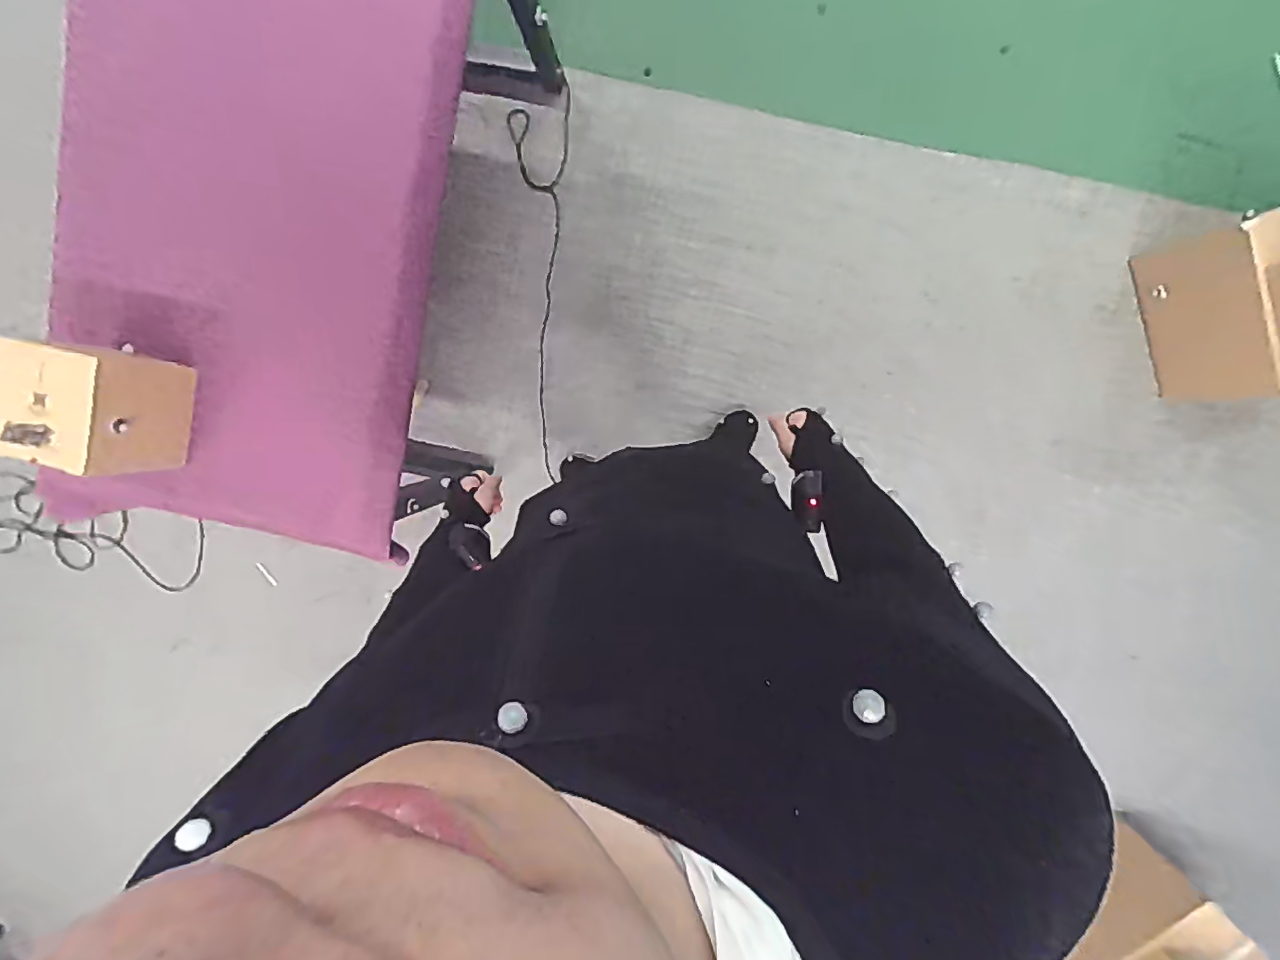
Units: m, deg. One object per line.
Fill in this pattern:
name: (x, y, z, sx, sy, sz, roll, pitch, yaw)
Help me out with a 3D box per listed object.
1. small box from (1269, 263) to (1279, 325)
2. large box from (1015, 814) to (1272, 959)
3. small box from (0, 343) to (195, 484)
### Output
small box: (1.441, -0.387, 1.079, 0.168, 0.176, 0.179, -18, 95, 6)
large box: (1.410, 1.280, 1.540, 0.320, 0.320, 0.408, 45, 97, -3)
small box: (-0.857, -0.104, 0.856, 0.168, 0.176, 0.179, 13, 97, 2)
